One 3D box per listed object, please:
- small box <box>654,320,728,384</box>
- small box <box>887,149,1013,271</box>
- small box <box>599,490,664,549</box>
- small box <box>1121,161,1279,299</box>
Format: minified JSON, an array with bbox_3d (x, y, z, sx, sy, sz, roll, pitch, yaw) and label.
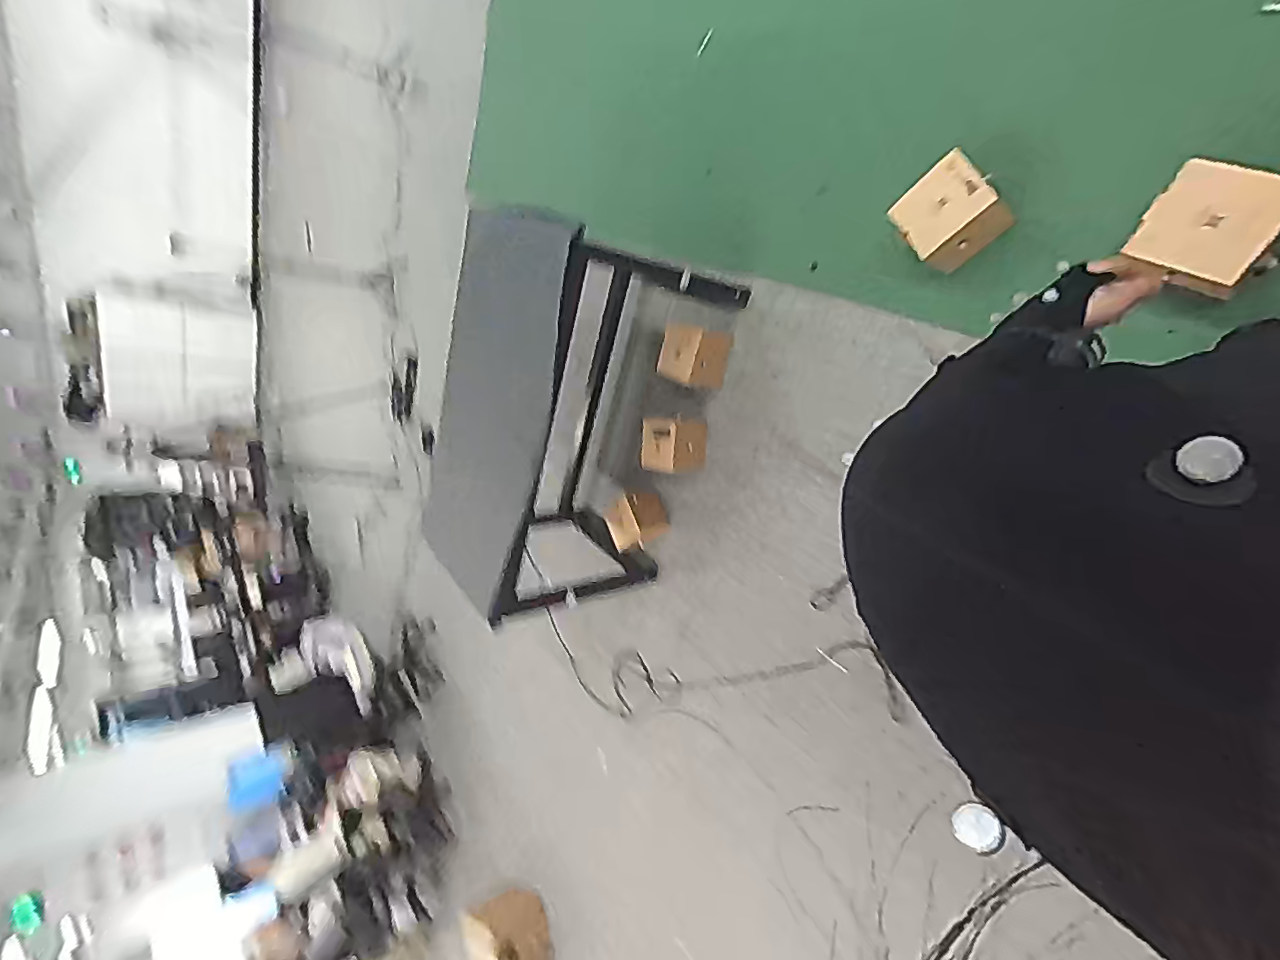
[{"bbox_3d":[0.179,-0.440,1.875,0.168,0.176,0.179,33,116,39],"label":"small box"},{"bbox_3d":[0.733,-0.624,1.276,0.179,0.176,0.168,-40,64,41],"label":"small box"},{"bbox_3d":[-0.031,0.153,2.149,0.168,0.176,0.179,-42,63,40],"label":"small box"},{"bbox_3d":[1.028,-0.442,0.976,0.179,0.176,0.168,44,124,33],"label":"small box"}]
